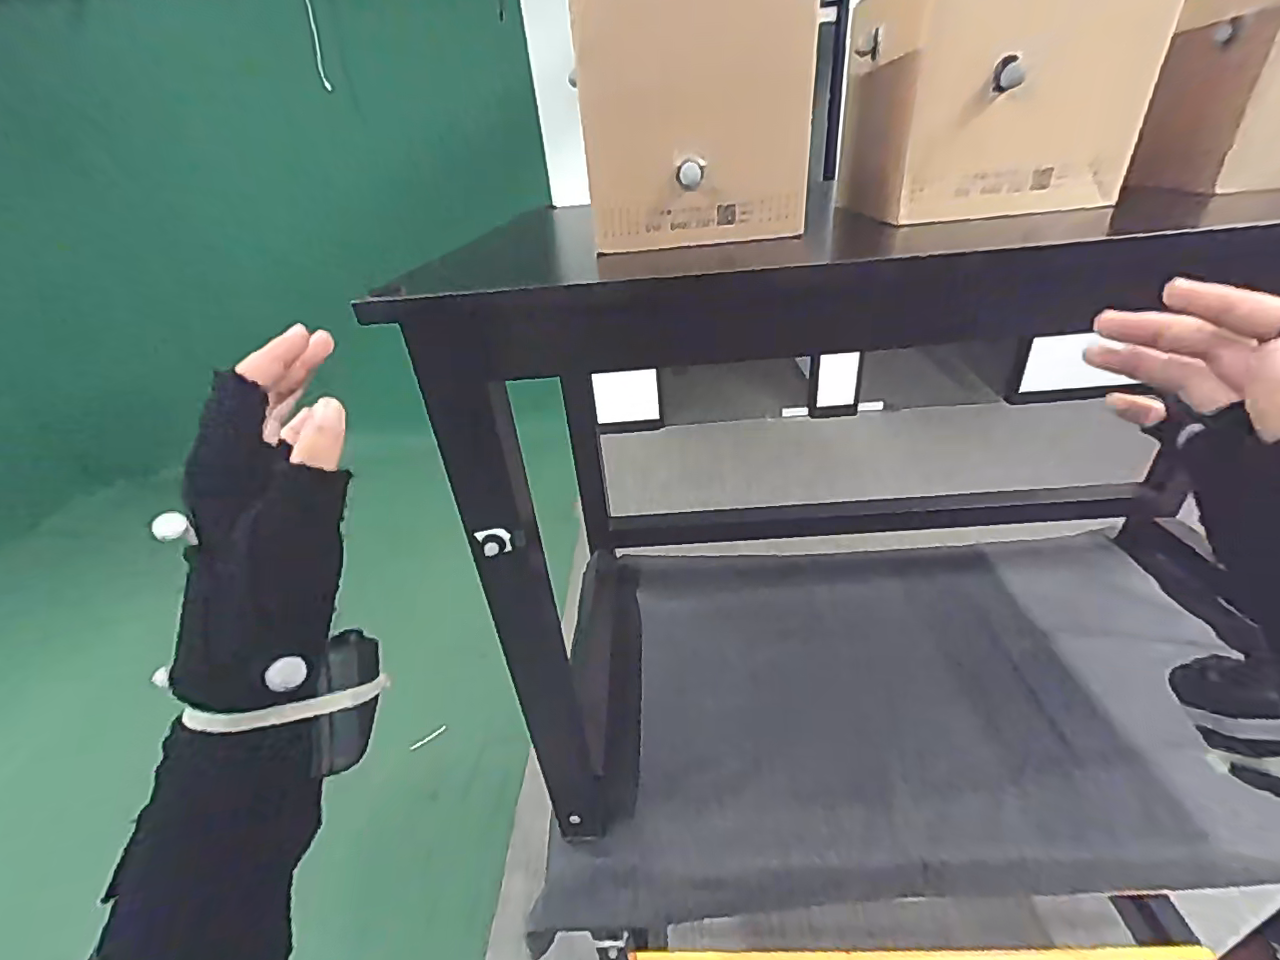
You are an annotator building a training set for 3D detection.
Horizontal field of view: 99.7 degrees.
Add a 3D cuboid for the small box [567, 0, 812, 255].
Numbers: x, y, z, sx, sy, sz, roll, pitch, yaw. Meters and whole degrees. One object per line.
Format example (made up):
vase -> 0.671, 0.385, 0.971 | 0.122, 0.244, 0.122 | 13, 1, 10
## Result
small box -> 0.038, -0.297, 0.467 | 0.168, 0.176, 0.179 | -4, 32, 2
